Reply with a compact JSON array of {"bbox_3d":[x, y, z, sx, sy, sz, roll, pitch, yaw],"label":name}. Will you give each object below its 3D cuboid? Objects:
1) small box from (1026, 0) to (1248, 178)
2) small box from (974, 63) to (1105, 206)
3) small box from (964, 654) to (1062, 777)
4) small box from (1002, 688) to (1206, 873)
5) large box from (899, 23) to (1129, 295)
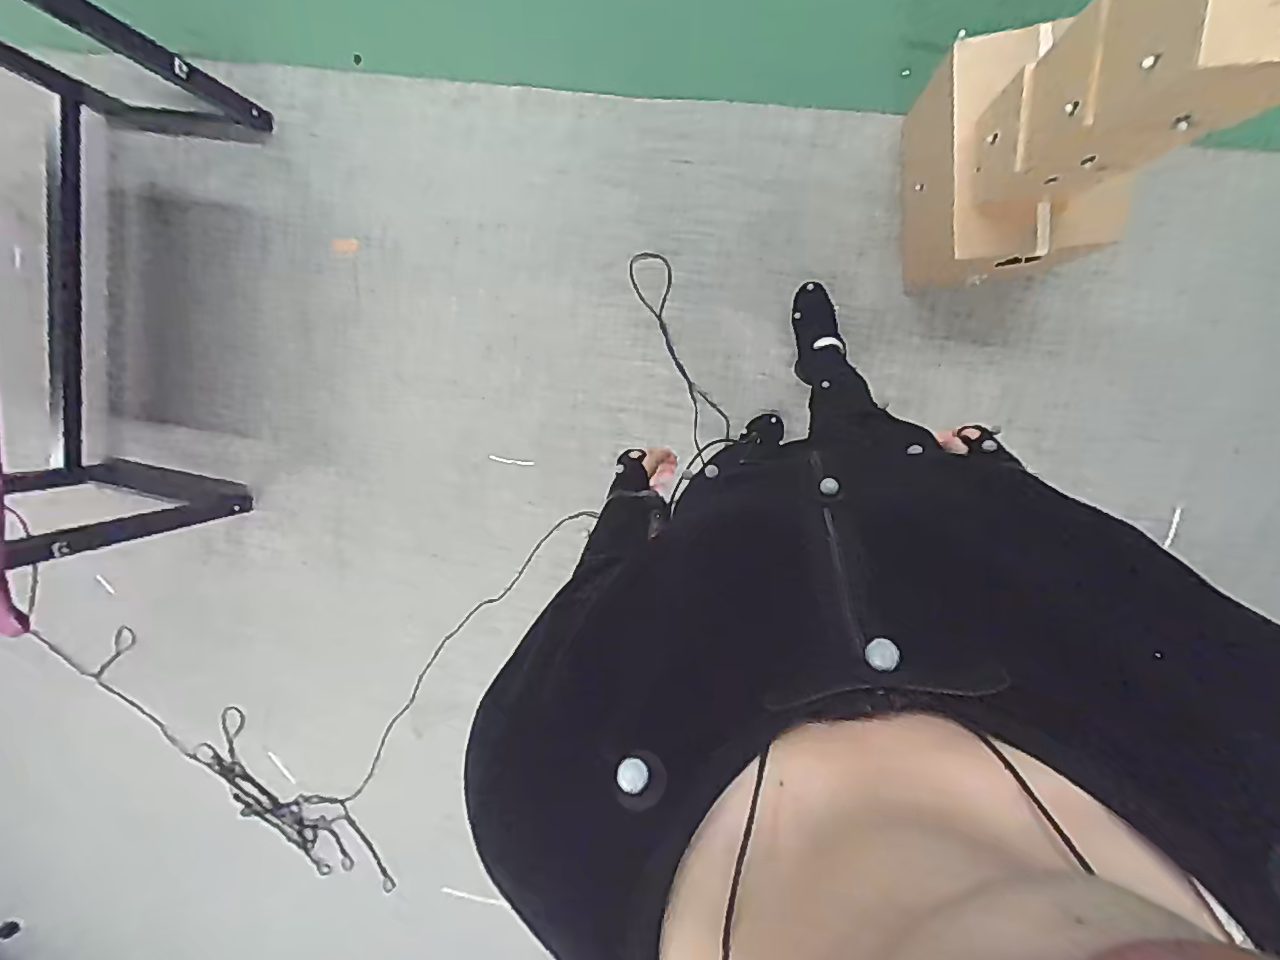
[{"bbox_3d":[0.694,-0.563,0.778,0.168,0.176,0.179,3,99,8],"label":"small box"},{"bbox_3d":[0.711,-0.590,0.937,0.179,0.176,0.168,1,99,9],"label":"small box"},{"bbox_3d":[0.792,0.492,1.084,0.168,0.176,0.179,39,103,0],"label":"small box"},{"bbox_3d":[0.763,0.500,0.922,0.168,0.176,0.179,43,101,0],"label":"small box"},{"bbox_3d":[0.775,-0.653,1.170,0.320,0.320,0.408,-4,96,8],"label":"large box"}]
